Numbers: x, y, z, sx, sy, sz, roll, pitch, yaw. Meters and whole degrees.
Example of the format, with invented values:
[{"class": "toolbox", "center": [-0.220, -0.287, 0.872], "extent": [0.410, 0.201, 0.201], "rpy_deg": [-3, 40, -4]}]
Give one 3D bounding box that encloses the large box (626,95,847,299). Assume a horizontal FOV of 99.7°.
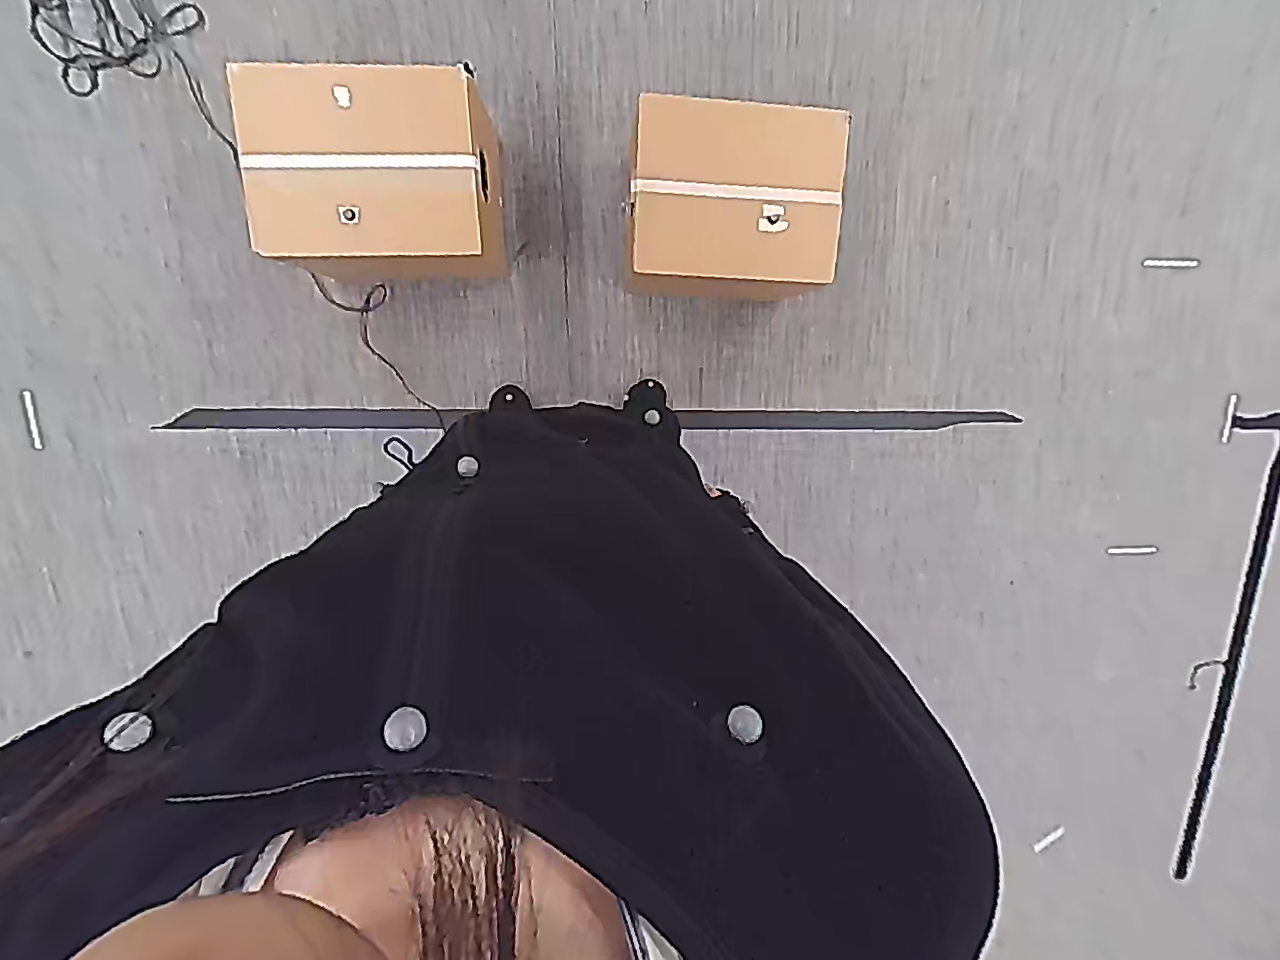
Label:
[{"class": "large box", "center": [0.180, -0.585, 1.185], "extent": [0.408, 0.320, 0.320], "rpy_deg": [1, 102, -6]}]
